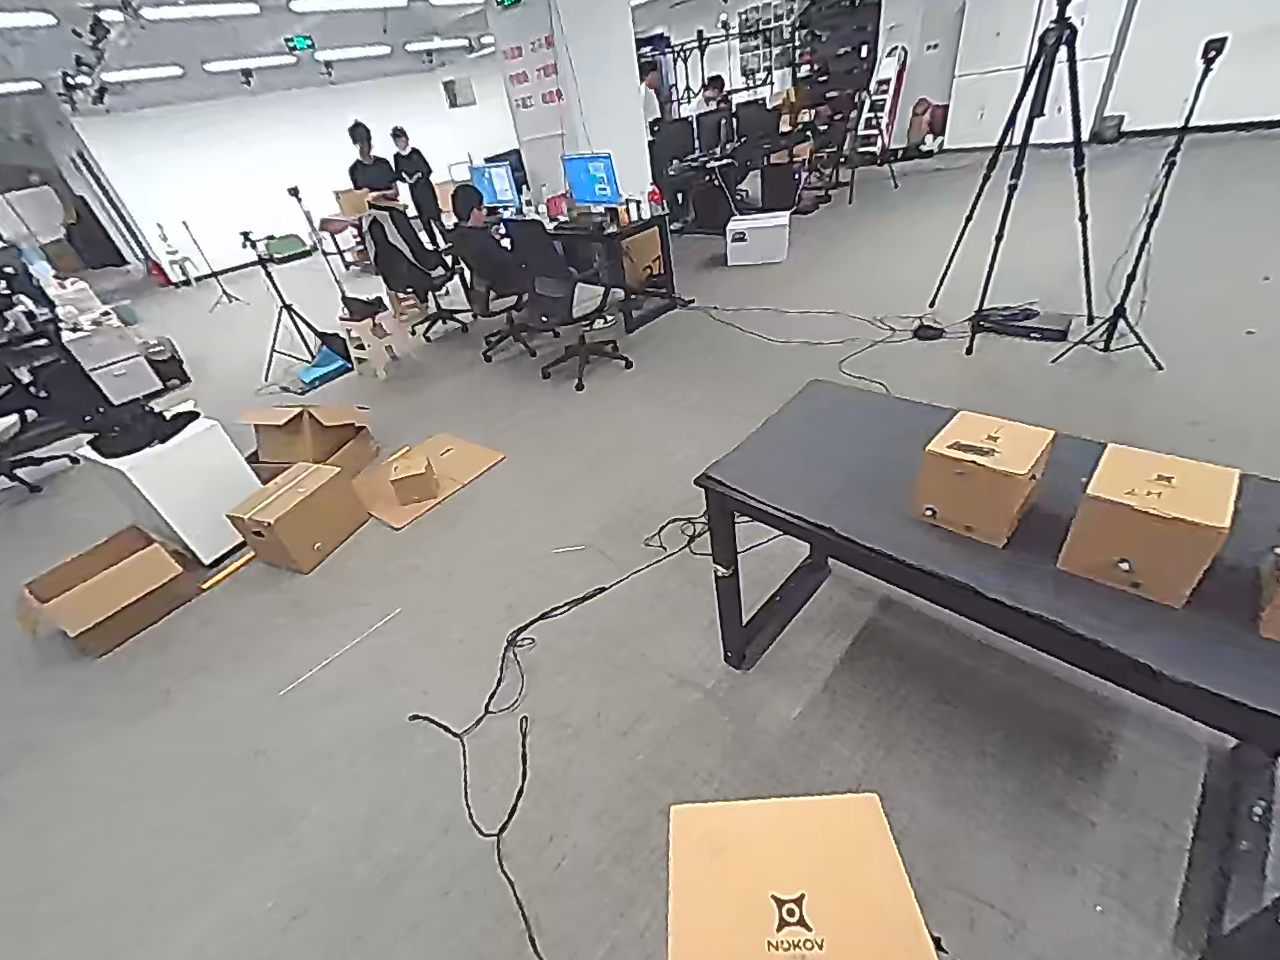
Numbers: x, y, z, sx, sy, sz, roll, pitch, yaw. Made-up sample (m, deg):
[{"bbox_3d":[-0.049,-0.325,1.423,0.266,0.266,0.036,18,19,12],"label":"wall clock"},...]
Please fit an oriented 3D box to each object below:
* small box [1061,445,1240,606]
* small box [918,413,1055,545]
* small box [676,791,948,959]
[{"bbox_3d":[0.835,0.071,0.896,0.168,0.176,0.179,23,47,39],"label":"small box"},{"bbox_3d":[0.662,-0.003,1.049,0.179,0.176,0.168,-34,41,-31],"label":"small box"},{"bbox_3d":[0.116,0.358,0.380,0.168,0.176,0.179,-7,21,6],"label":"small box"}]
